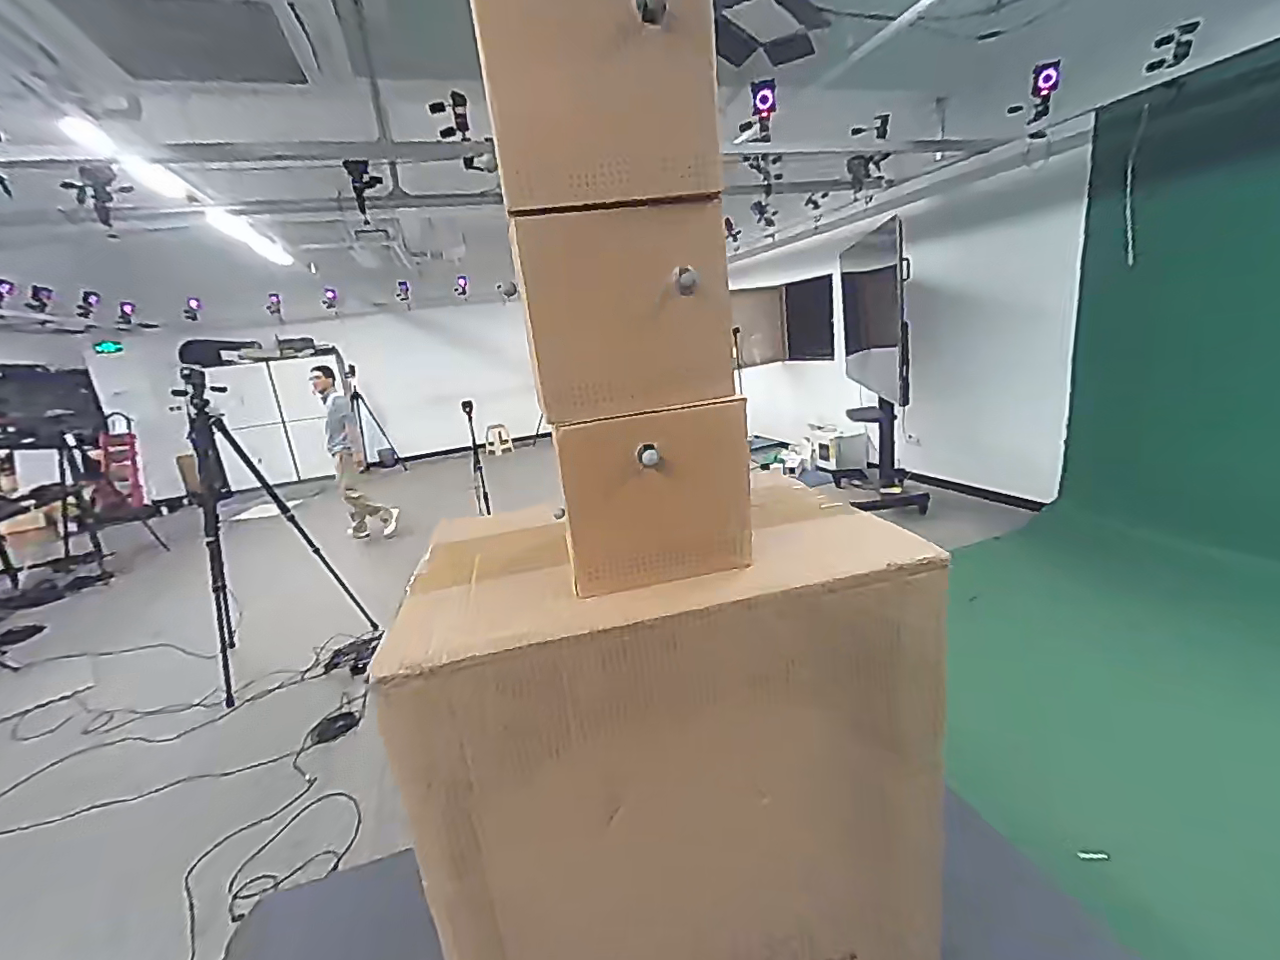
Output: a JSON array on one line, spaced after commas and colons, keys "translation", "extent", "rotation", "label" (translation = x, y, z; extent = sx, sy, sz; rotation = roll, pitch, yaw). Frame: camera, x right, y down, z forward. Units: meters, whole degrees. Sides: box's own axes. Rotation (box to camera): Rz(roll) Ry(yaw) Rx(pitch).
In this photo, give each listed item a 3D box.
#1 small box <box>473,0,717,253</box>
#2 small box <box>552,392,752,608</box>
[{"translation": [-0.036, -0.302, 0.476], "extent": [0.179, 0.176, 0.168], "rotation": [-9, 16, -7], "label": "small box"}, {"translation": [0.008, 0.011, 0.566], "extent": [0.179, 0.176, 0.168], "rotation": [-9, 17, -9], "label": "small box"}]
